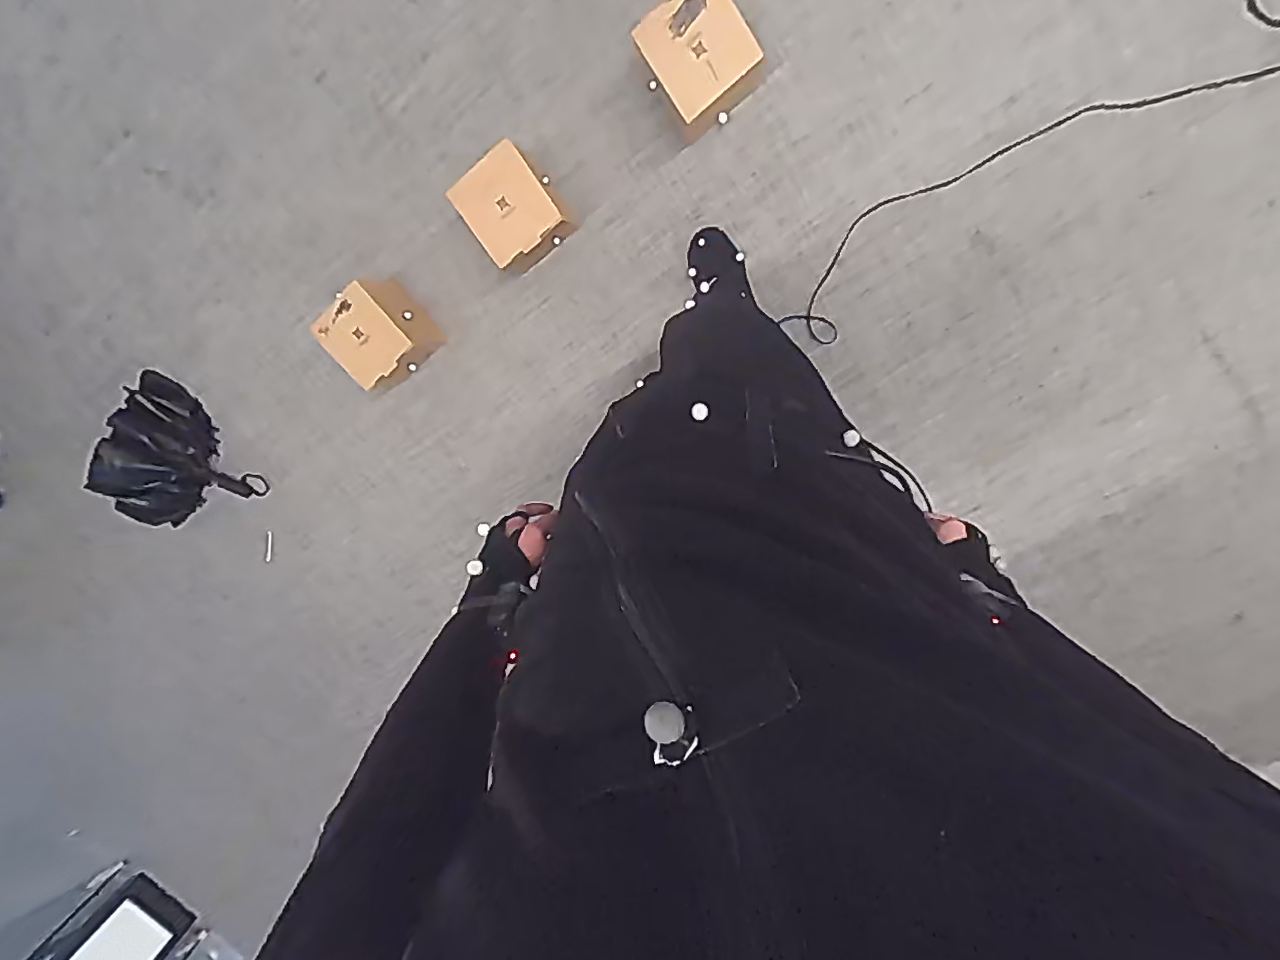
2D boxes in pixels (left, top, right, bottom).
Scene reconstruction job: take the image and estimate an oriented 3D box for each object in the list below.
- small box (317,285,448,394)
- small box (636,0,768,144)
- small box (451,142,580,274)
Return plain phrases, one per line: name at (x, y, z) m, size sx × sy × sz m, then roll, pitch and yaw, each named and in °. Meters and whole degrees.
small box at (-0.579, -0.328, 1.243) m, size 0.168 × 0.176 × 0.179 m, roll -37°, pitch 102°, yaw 16°
small box at (0.114, -0.774, 1.009) m, size 0.168 × 0.176 × 0.179 m, roll -34°, pitch 102°, yaw 17°
small box at (-0.248, -0.554, 1.130) m, size 0.168 × 0.176 × 0.179 m, roll -34°, pitch 101°, yaw 15°
